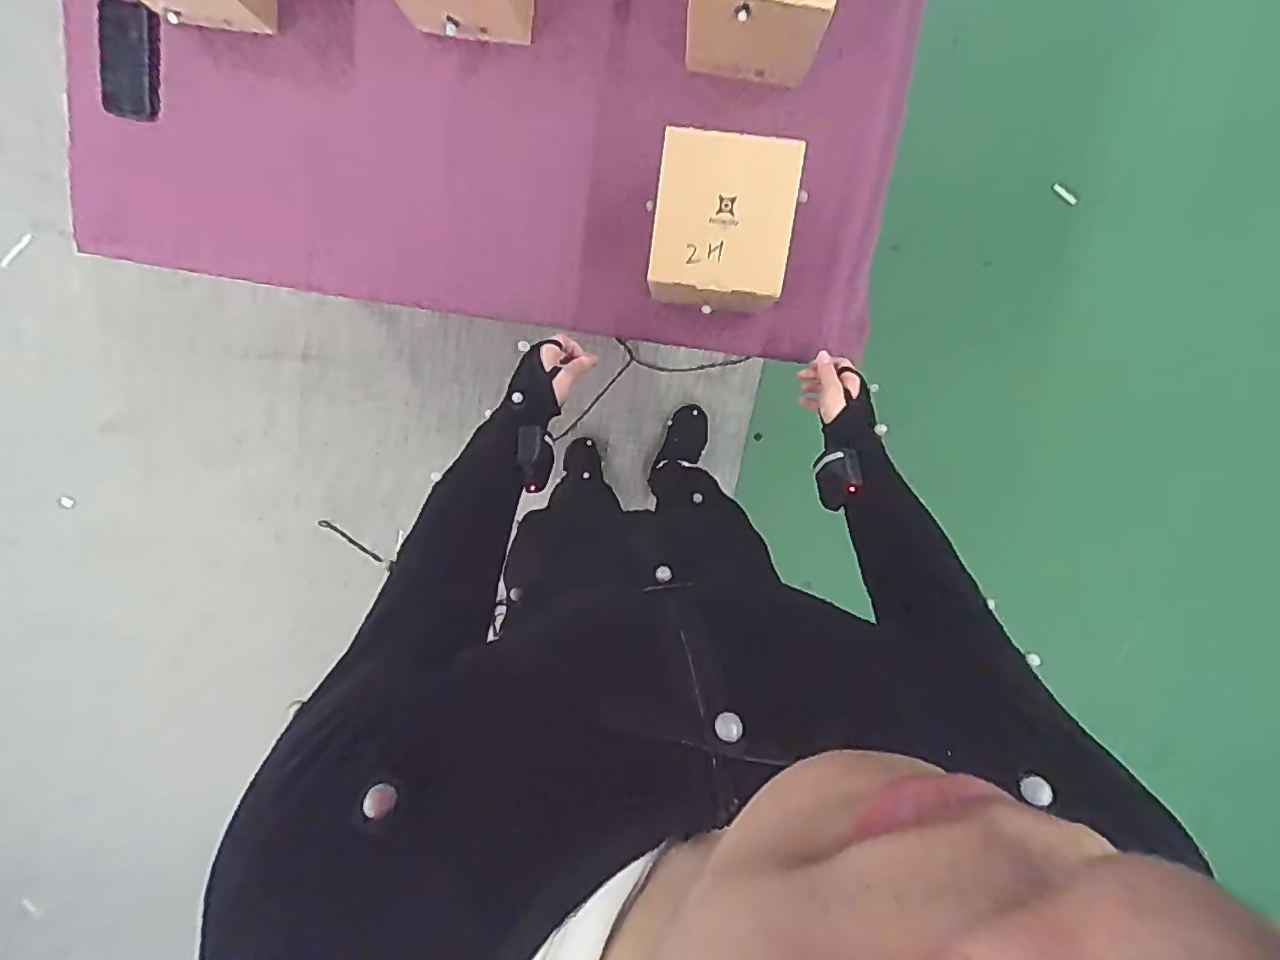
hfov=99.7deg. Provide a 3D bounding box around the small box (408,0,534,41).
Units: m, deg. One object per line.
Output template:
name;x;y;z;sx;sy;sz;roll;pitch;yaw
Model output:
small box;-0.226;-0.701;0.671;0.168;0.176;0.179;9;102;3

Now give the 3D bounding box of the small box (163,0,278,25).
small box;-0.591;-0.731;0.688;0.168;0.176;0.179;9;101;2

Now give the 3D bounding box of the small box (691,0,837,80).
small box;0.157;-0.637;0.656;0.168;0.176;0.179;11;101;3

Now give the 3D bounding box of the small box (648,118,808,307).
small box;0.107;-0.337;0.715;0.168;0.176;0.179;9;102;4
